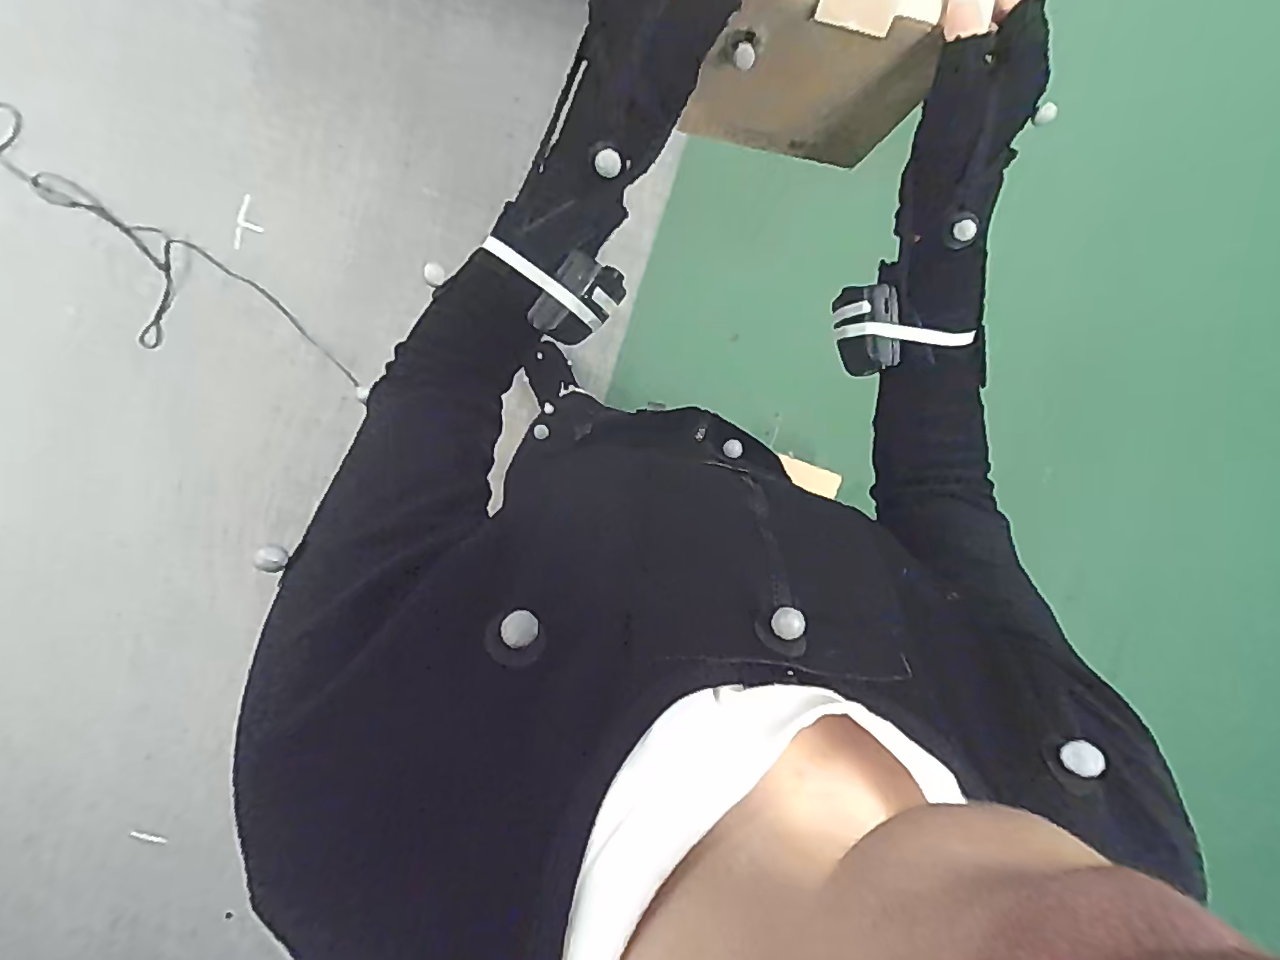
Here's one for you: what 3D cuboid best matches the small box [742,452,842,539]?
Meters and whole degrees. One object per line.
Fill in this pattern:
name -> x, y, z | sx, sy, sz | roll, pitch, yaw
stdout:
small box -> 0.387, 0.032, 1.411 | 0.179, 0.176, 0.168 | 20, 97, -4
